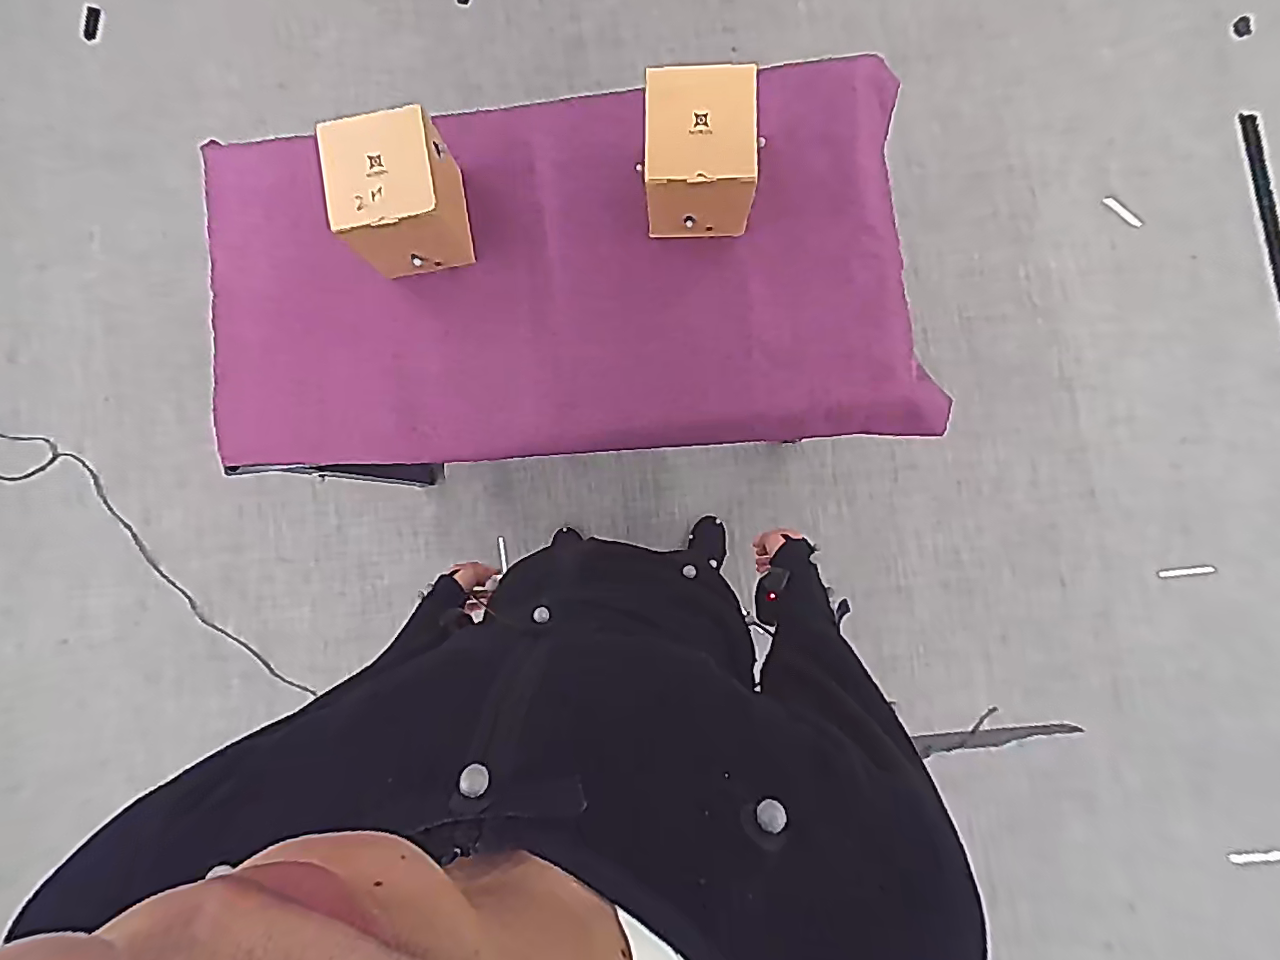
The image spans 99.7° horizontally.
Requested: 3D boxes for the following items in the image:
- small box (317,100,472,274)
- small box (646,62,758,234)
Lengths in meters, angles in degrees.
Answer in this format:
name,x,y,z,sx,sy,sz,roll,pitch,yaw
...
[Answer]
name,x,y,z,sx,sy,sz,roll,pitch,yaw
small box,-0.391,-0.468,0.886,0.168,0.176,0.179,-10,86,2
small box,0.094,-0.522,0.869,0.168,0.176,0.179,0,88,3
